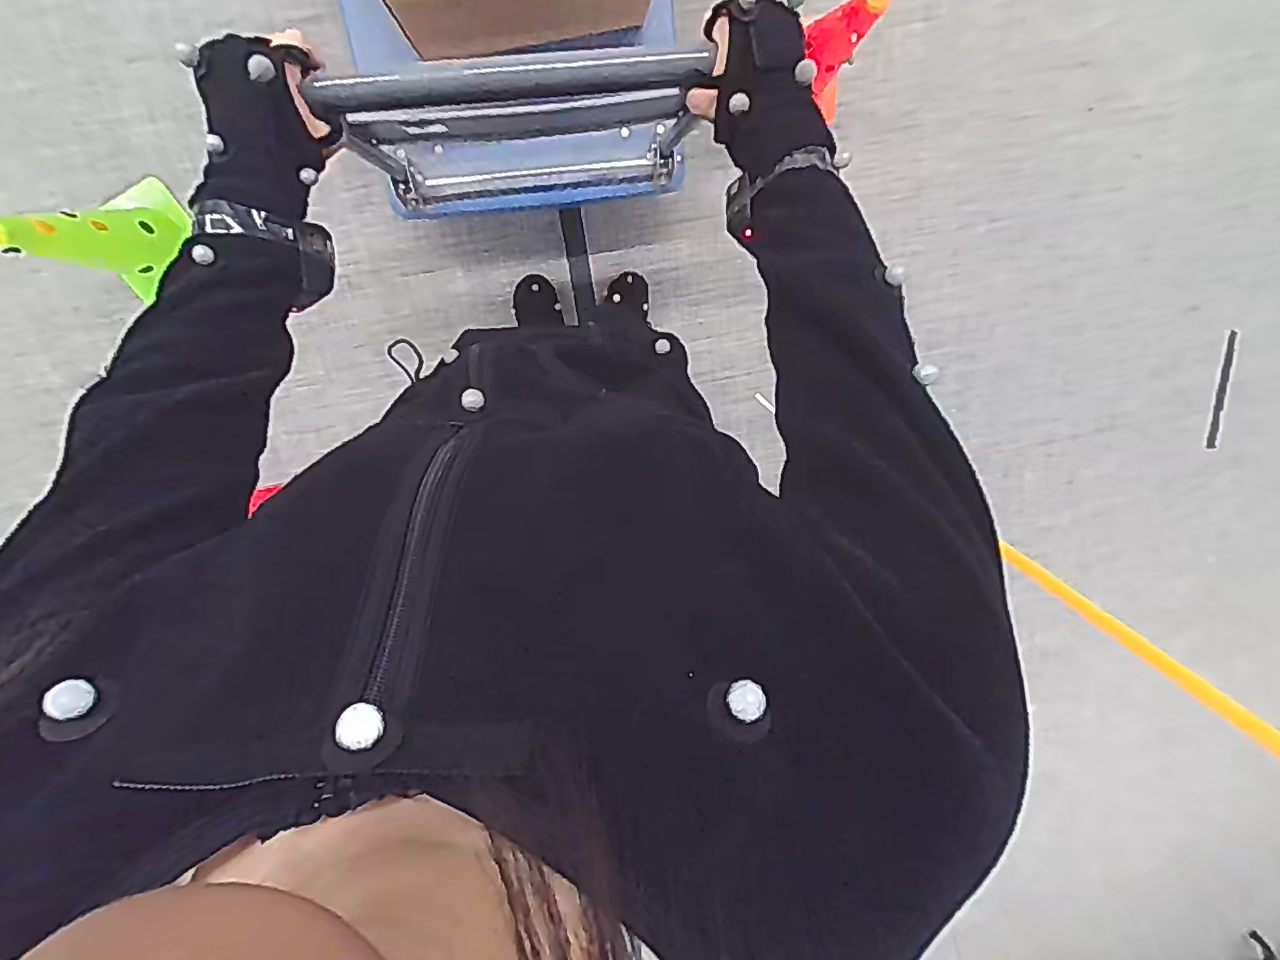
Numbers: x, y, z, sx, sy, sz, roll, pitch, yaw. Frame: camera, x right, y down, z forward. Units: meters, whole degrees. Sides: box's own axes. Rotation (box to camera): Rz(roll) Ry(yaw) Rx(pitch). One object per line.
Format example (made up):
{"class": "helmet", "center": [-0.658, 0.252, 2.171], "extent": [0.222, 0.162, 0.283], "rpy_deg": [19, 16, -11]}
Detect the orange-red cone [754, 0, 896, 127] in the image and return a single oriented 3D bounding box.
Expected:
{"class": "orange-red cone", "center": [0.376, -0.834, 1.035], "extent": [0.199, 0.360, 0.198], "rpy_deg": [-5, 111, -7]}
